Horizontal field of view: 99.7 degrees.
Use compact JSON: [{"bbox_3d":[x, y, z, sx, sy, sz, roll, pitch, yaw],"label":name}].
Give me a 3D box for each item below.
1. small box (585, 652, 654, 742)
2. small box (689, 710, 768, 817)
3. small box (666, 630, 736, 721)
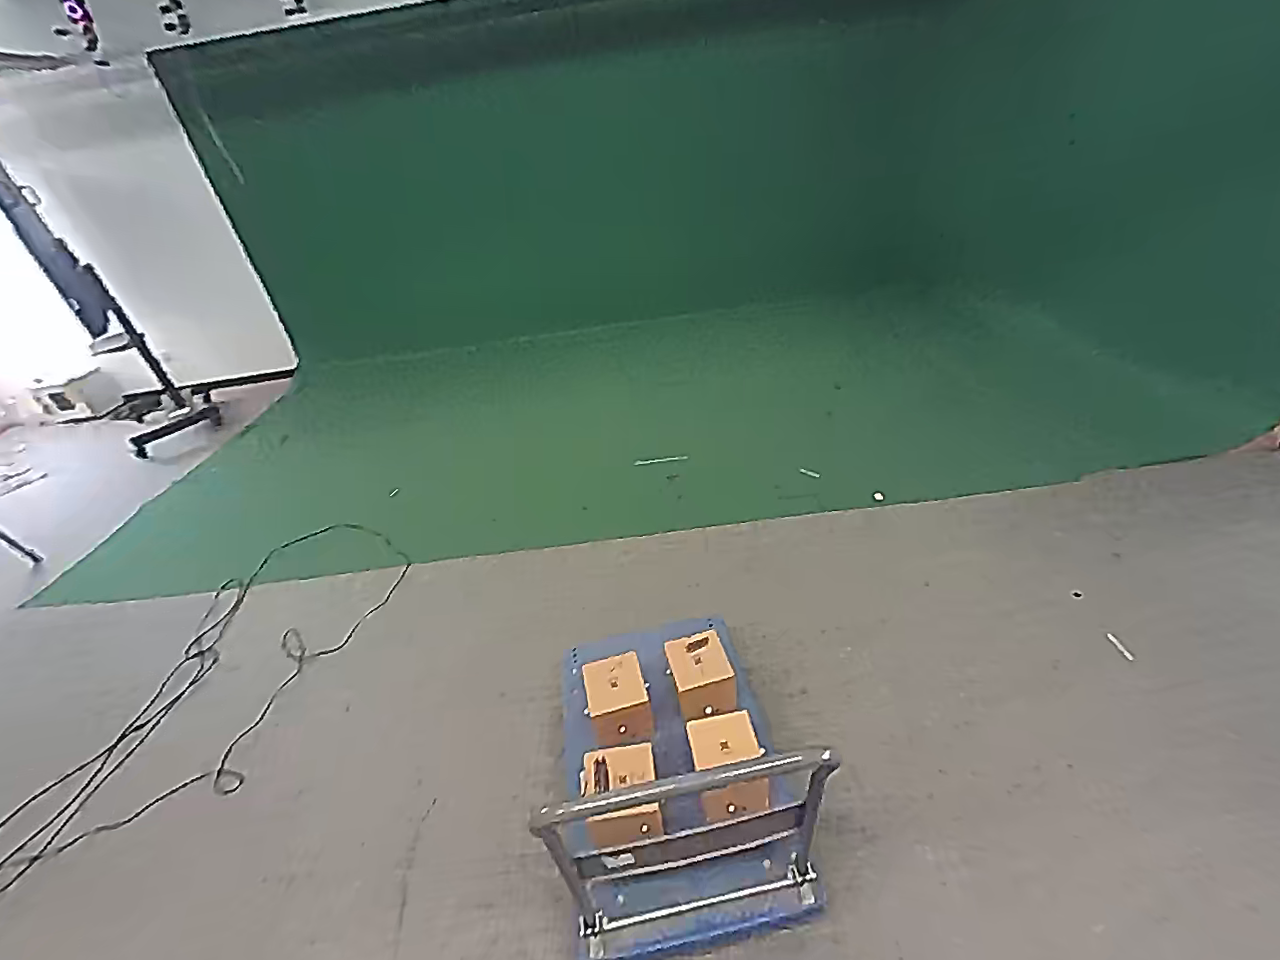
[{"bbox_3d":[-0.059,0.650,1.606,0.168,0.176,0.179,-13,34,-7],"label":"small box"},{"bbox_3d":[0.226,0.739,1.411,0.168,0.176,0.179,-11,35,-3],"label":"small box"},{"bbox_3d":[0.184,0.591,1.634,0.168,0.176,0.179,-14,35,-5],"label":"small box"}]
